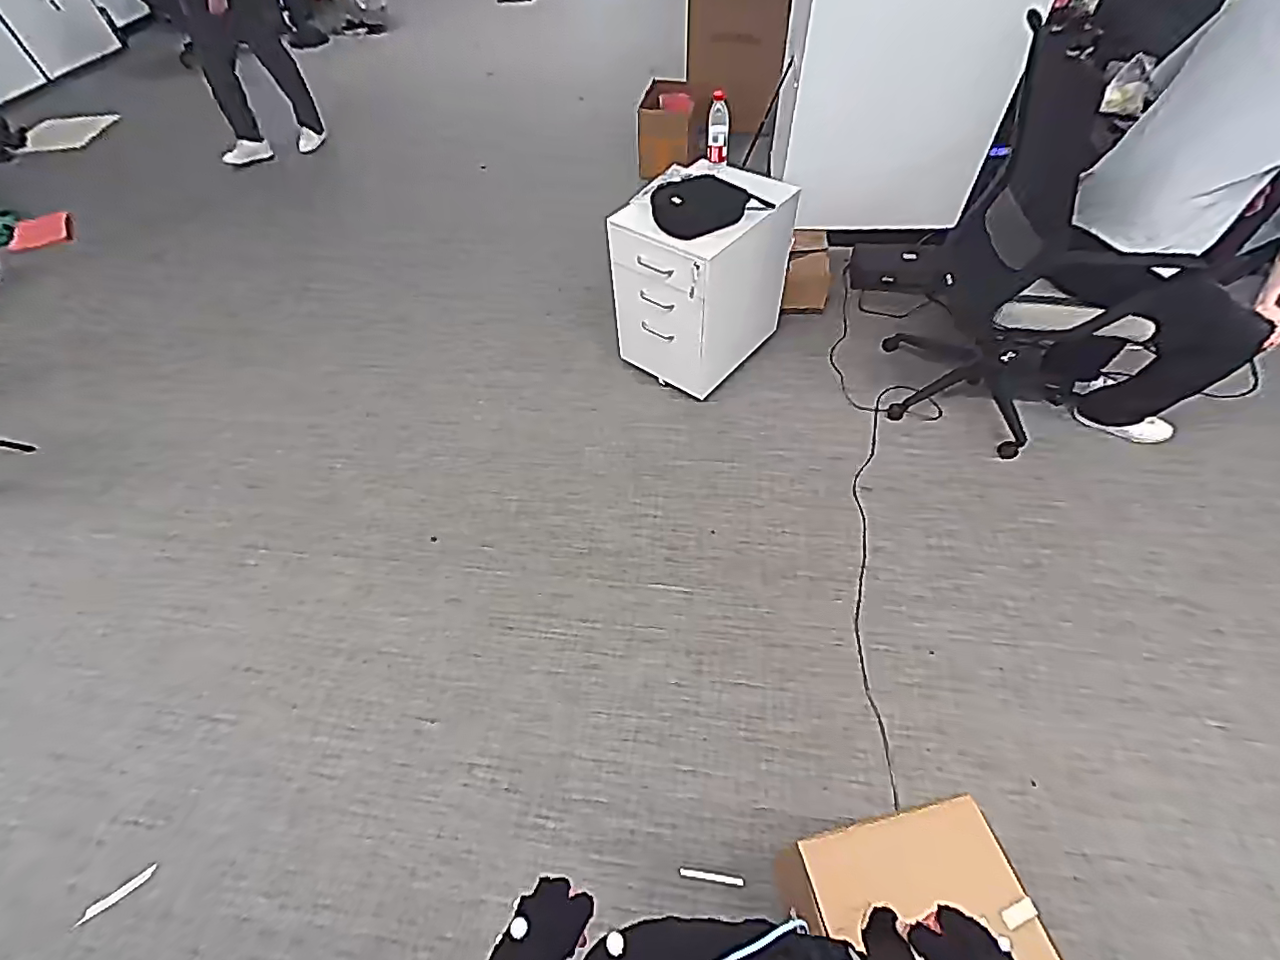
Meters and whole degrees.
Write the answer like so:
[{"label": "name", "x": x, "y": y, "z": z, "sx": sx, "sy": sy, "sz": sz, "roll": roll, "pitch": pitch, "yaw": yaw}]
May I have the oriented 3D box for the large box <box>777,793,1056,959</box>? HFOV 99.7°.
[{"label": "large box", "x": 0.463, "y": 0.799, "z": 0.965, "sx": 0.320, "sy": 0.408, "sz": 0.320, "roll": -13, "pitch": 51, "yaw": -2}]
